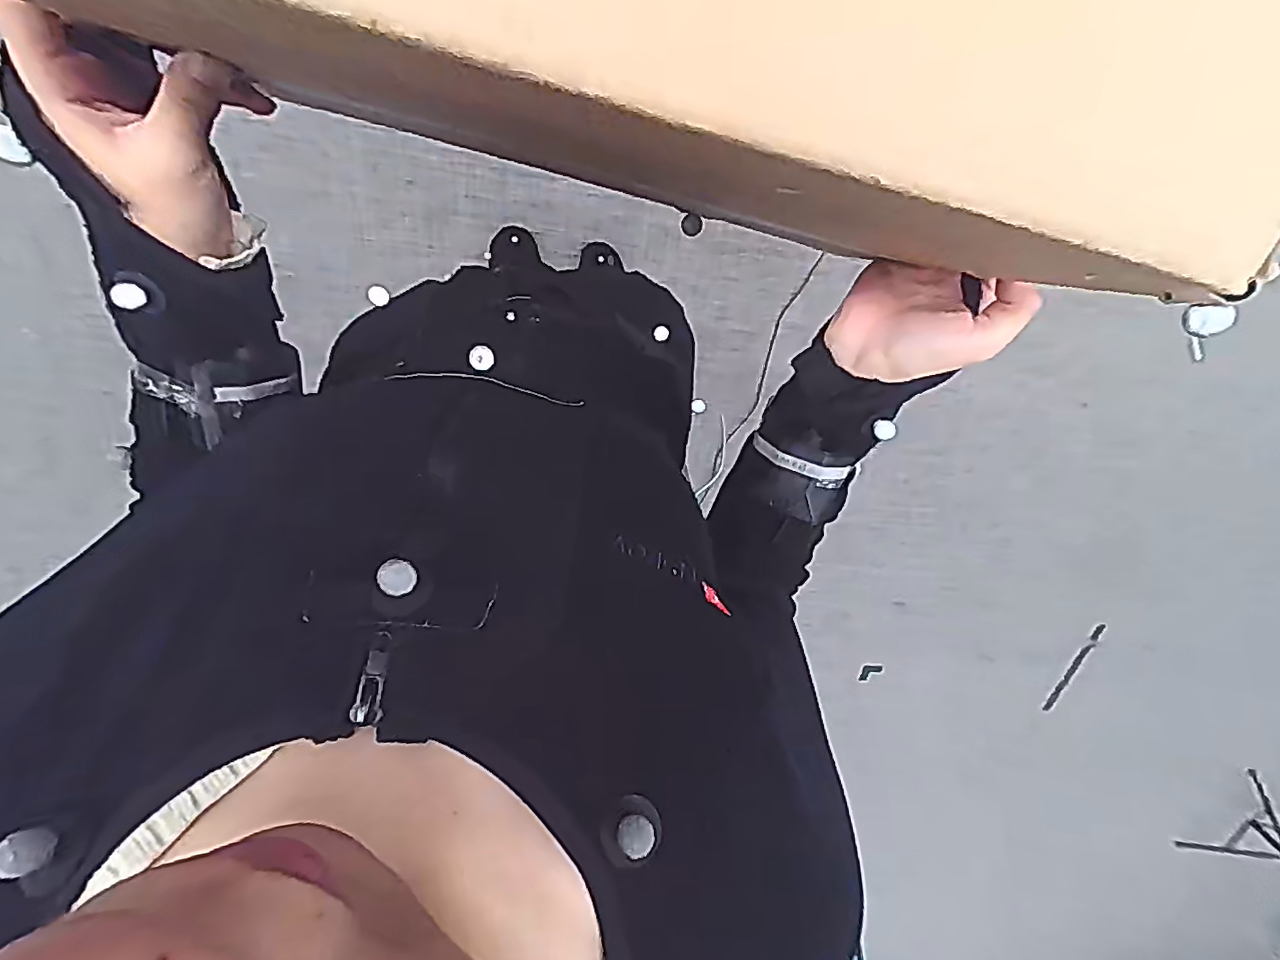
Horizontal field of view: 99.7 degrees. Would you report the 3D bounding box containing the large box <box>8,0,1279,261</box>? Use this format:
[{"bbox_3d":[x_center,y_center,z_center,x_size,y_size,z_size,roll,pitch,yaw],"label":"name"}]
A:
[{"bbox_3d":[-0.005,-0.293,0.193,0.408,0.320,0.320,9,115,-10],"label":"large box"}]
